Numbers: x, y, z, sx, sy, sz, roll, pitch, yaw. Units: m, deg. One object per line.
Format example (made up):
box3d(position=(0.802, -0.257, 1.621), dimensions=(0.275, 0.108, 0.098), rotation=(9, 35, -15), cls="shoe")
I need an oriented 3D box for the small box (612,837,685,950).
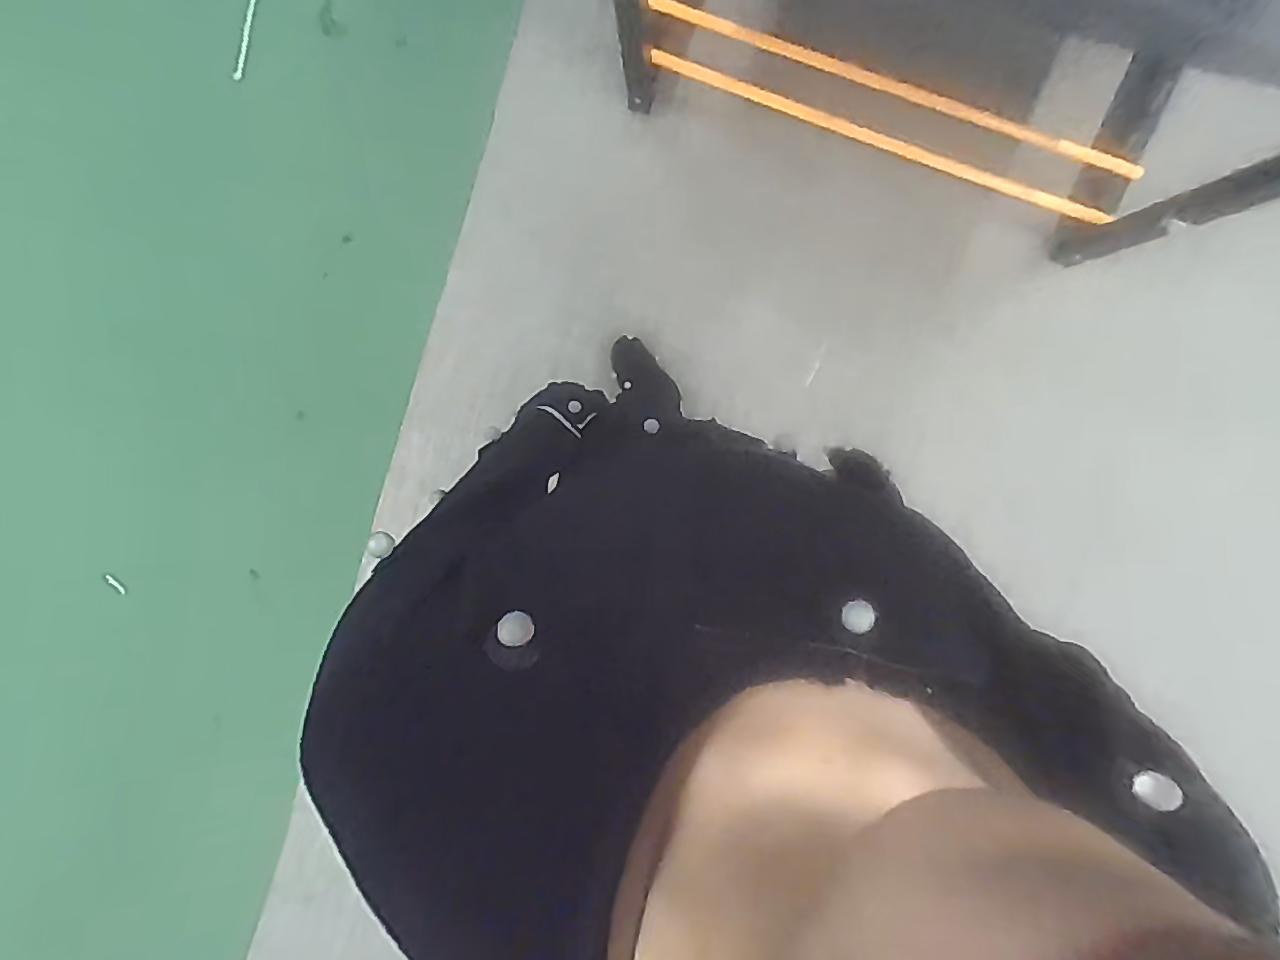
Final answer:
box3d(position=(0.027, 1.200, 1.579), dimensions=(0.168, 0.176, 0.179), rotation=(18, 98, 0), cls="small box")
